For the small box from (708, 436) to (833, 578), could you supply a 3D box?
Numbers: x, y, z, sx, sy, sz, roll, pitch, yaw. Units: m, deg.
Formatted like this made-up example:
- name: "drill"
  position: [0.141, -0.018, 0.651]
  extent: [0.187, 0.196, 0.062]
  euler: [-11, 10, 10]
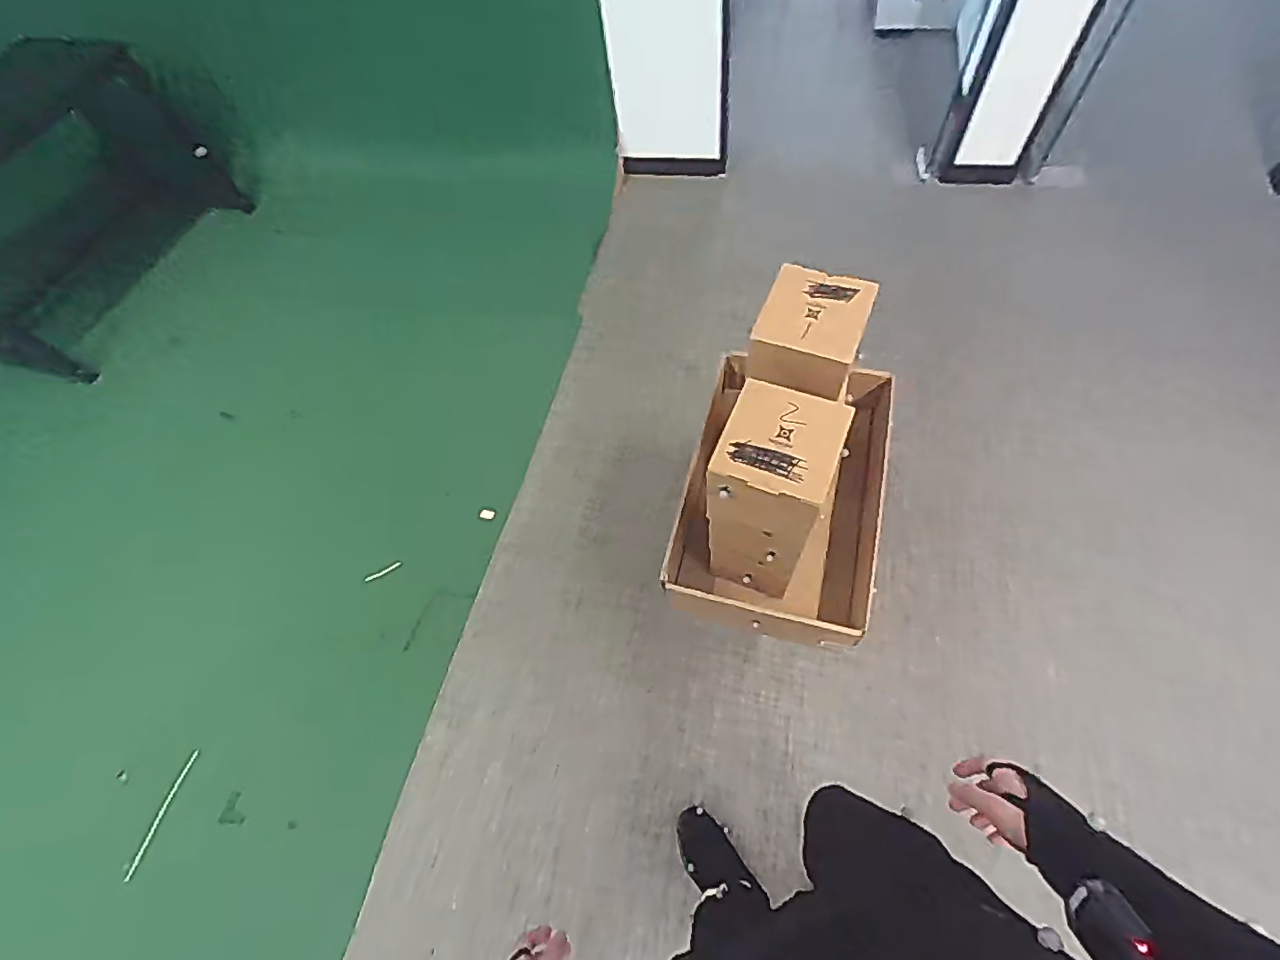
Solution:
- name: "small box"
  position: [0.234, 0.055, 0.989]
  extent: [0.168, 0.176, 0.179]
  euler: [21, 65, 17]

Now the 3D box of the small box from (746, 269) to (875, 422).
- name: "small box"
  position: [0.291, -0.234, 0.956]
  extent: [0.168, 0.176, 0.179]
  euler: [19, 68, 17]

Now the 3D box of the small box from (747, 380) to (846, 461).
- name: "small box"
  position: [0.313, -0.154, 1.097]
  extent: [0.168, 0.176, 0.179]
  euler: [11, 65, 12]
